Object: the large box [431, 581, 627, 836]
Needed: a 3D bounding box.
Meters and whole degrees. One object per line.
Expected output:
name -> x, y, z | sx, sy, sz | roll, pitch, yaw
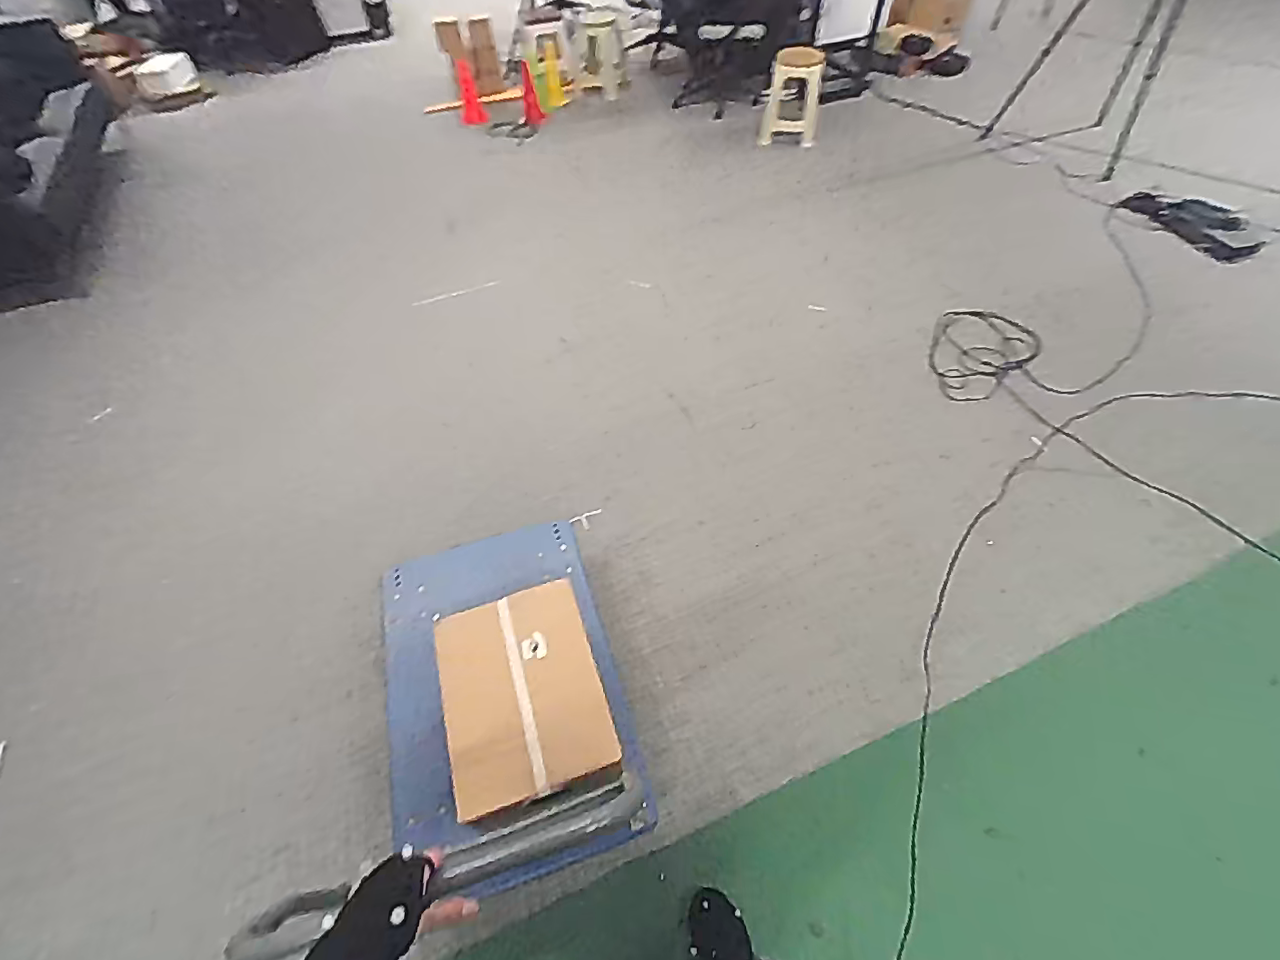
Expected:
large box -> -0.242, 0.510, 1.219 | 0.320, 0.320, 0.408 | -17, 54, -11
